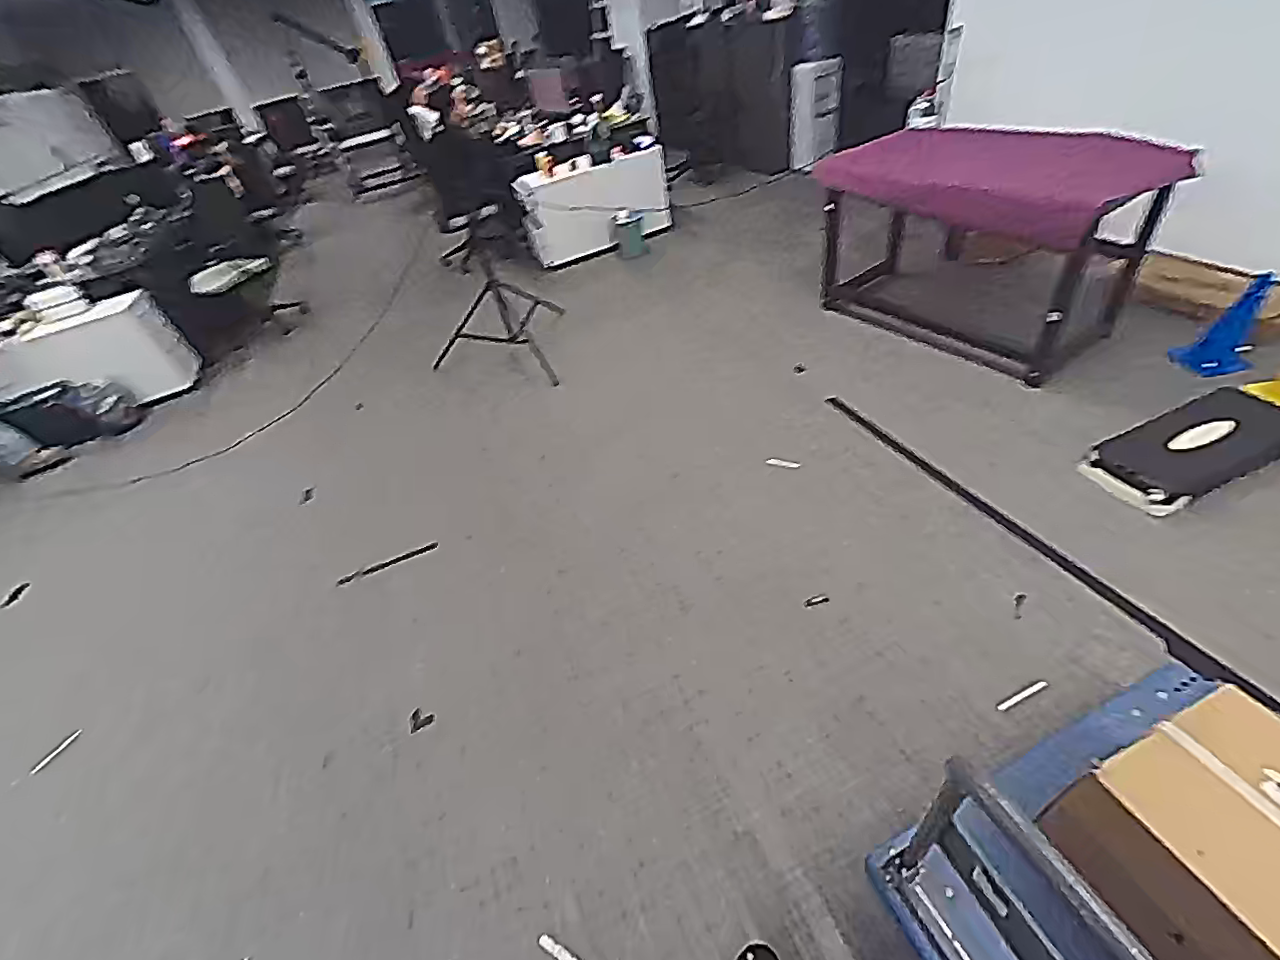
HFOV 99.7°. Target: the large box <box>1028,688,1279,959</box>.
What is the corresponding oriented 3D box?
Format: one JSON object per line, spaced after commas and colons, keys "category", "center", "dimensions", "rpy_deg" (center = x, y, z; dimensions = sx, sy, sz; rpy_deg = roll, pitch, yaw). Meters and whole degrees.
{"category": "large box", "center": [0.945, 0.633, 0.853], "dimensions": [0.320, 0.320, 0.408], "rpy_deg": [-22, 42, -11]}
